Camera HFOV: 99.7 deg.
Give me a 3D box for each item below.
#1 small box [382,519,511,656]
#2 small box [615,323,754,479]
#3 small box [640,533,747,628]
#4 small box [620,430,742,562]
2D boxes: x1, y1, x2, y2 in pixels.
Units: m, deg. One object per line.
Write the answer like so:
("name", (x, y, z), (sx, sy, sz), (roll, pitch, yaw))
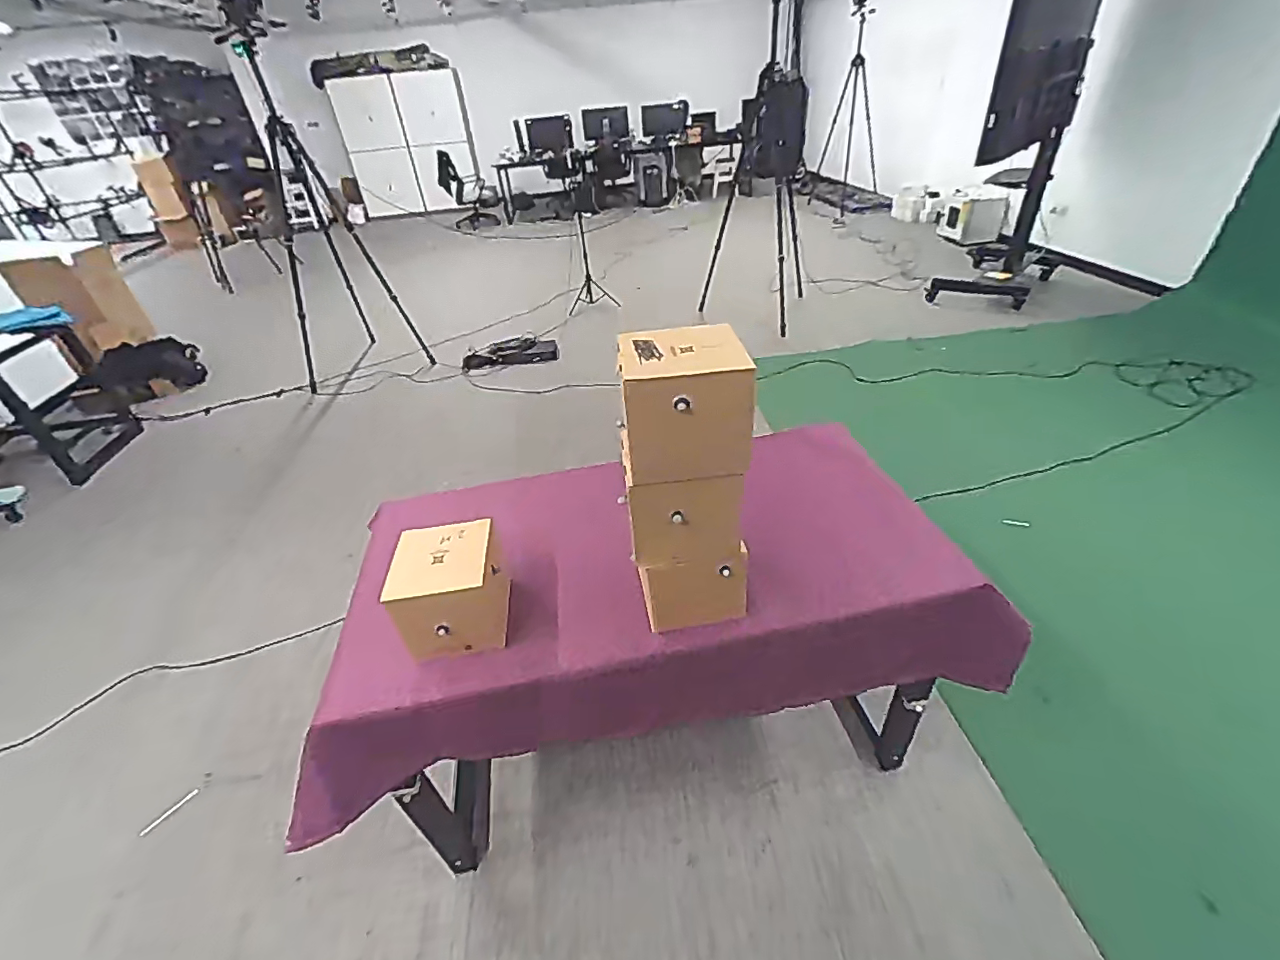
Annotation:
("small box", (-0.336, 0.200, 0.980), (0.168, 0.176, 0.179), (-8, 36, -3))
("small box", (0.062, -0.114, 0.792), (0.179, 0.176, 0.168), (-6, 36, -1))
("small box", (0.089, 0.148, 0.989), (0.179, 0.176, 0.168), (-10, 37, -4))
("small box", (0.067, 0.018, 0.891), (0.179, 0.176, 0.168), (-7, 37, -1))
